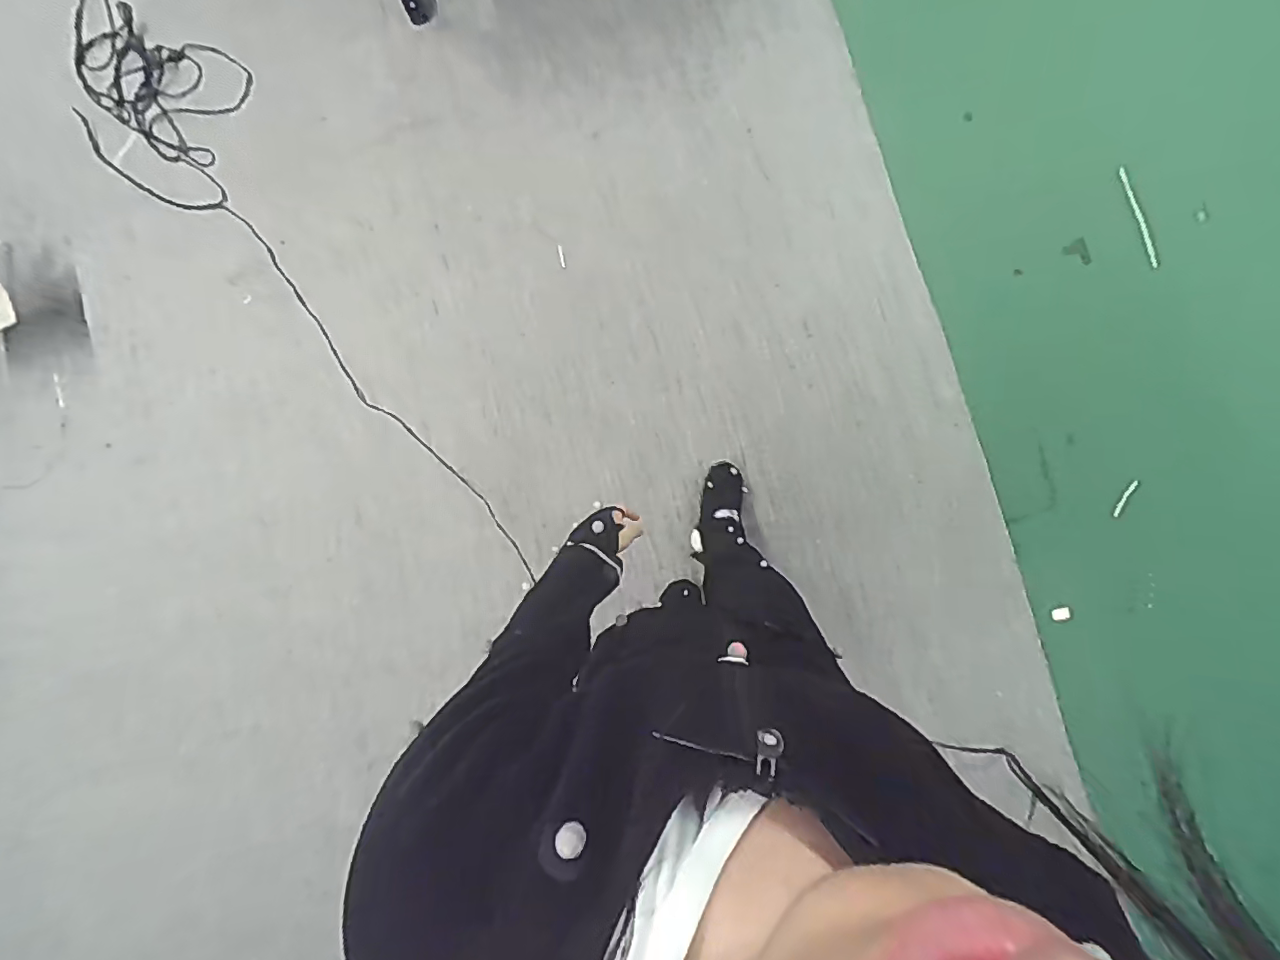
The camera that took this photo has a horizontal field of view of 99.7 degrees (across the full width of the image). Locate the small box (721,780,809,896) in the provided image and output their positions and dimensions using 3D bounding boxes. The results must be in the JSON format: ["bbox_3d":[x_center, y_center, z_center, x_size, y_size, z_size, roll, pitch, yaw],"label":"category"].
[{"bbox_3d":[0.308,0.893,1.363,0.168,0.176,0.179,-9,84,-1],"label":"small box"}]
